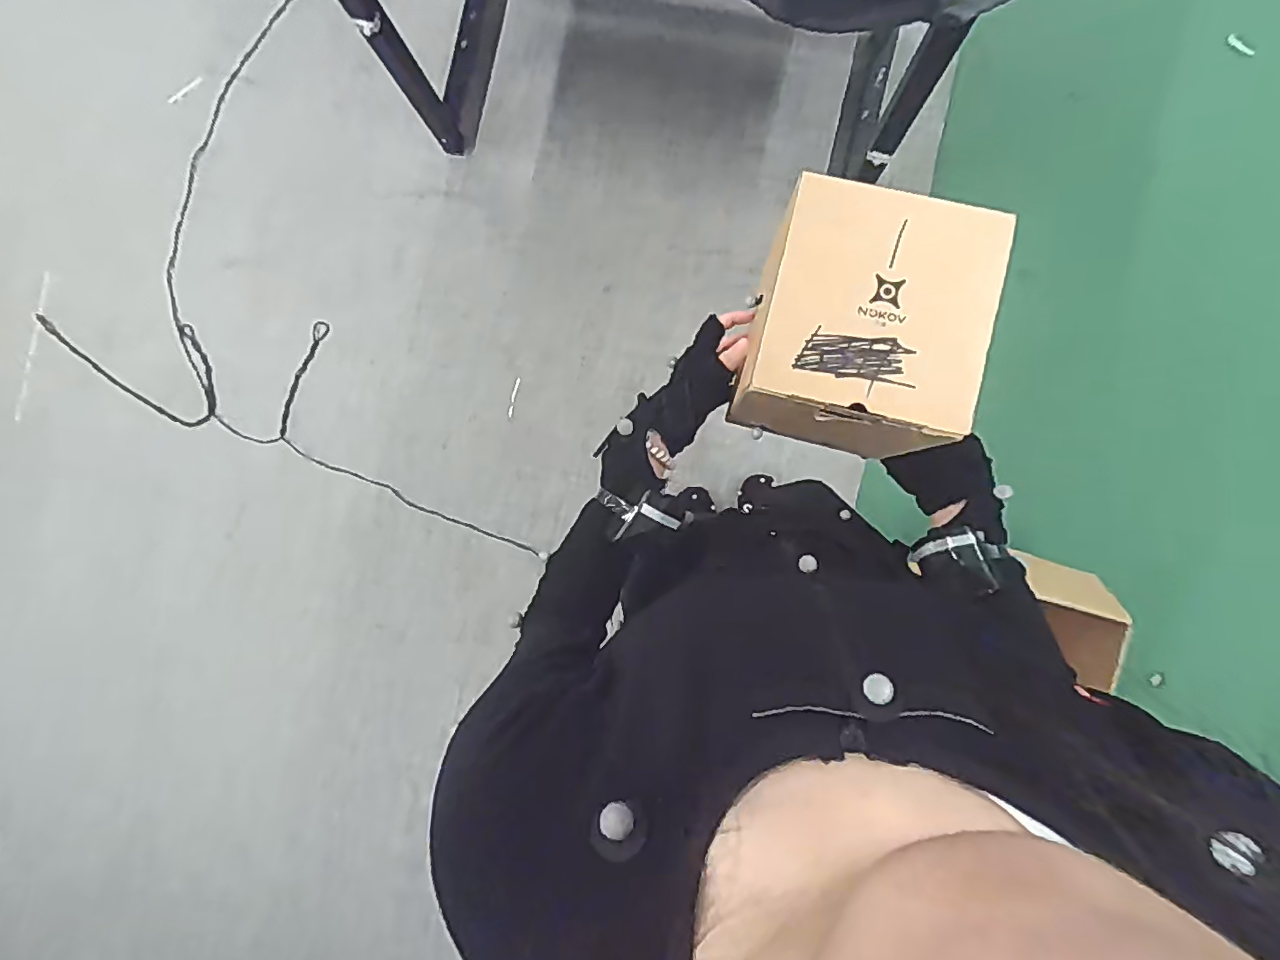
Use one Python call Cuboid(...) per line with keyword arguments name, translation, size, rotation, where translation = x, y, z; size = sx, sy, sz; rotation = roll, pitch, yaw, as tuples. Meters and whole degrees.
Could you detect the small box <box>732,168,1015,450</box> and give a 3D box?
Cuboid(name="small box", translation=(0.186, -0.133, 0.487), size=(0.168, 0.176, 0.179), rotation=(14, 87, 3))
